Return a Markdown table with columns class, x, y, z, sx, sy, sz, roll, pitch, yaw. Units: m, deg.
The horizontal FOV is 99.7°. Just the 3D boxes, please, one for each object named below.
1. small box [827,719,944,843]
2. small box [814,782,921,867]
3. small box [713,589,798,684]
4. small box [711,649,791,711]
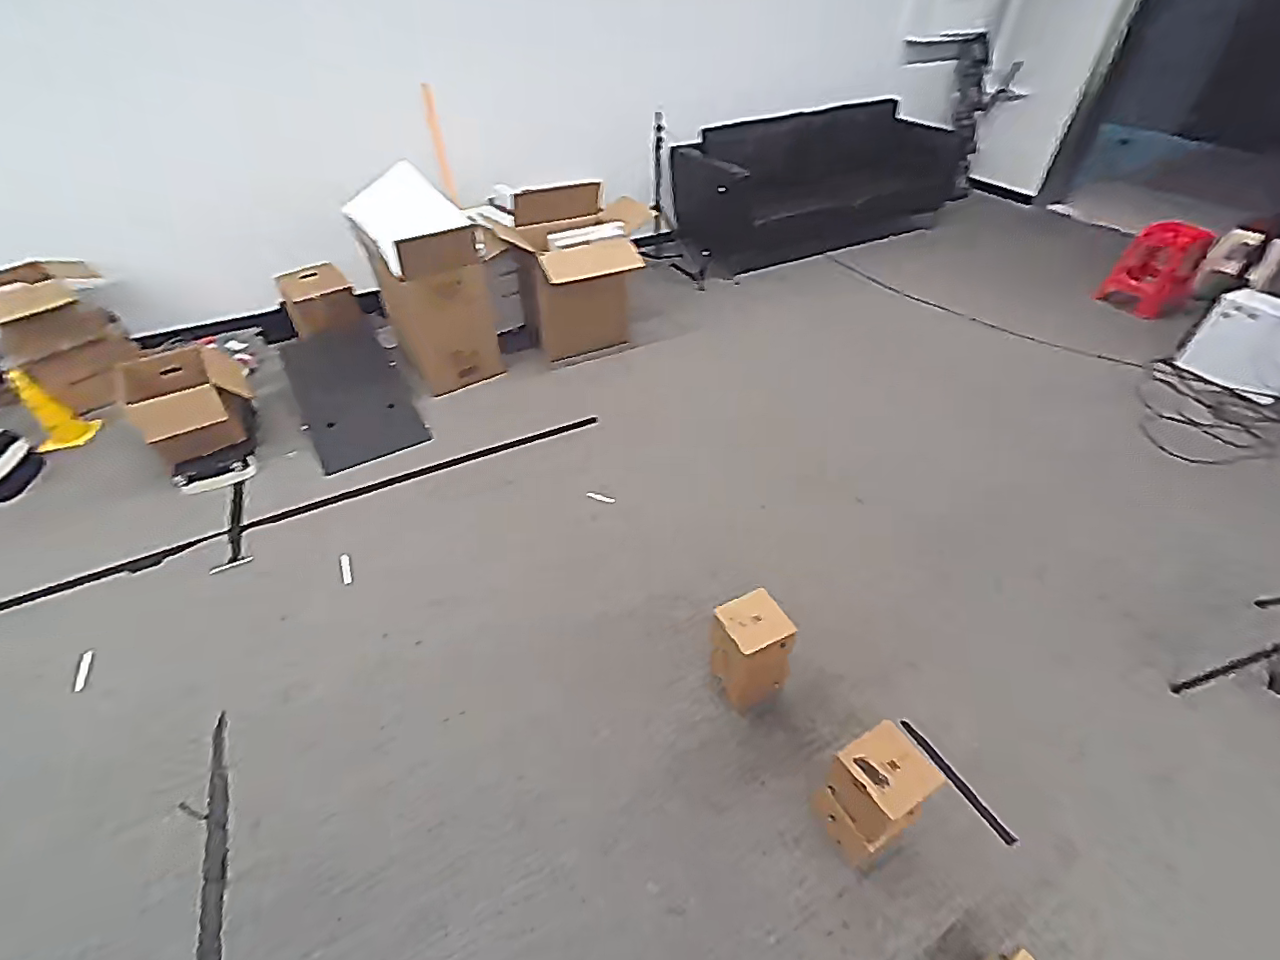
| class | x | y | z | sx | sy | sz | roll | pitch | yaw |
| --- | --- | --- | --- | --- | --- | --- | --- | --- | --- |
| small box | 0.565 | 0.709 | 1.272 | 0.179 | 0.176 | 0.168 | -20 | 46 | -22 |
| small box | 0.566 | 0.839 | 1.373 | 0.179 | 0.176 | 0.168 | -21 | 46 | -22 |
| small box | 0.324 | 0.451 | 1.558 | 0.179 | 0.176 | 0.168 | -19 | 44 | -18 |
| small box | 0.334 | 0.576 | 1.664 | 0.179 | 0.176 | 0.168 | -18 | 44 | -18 |
